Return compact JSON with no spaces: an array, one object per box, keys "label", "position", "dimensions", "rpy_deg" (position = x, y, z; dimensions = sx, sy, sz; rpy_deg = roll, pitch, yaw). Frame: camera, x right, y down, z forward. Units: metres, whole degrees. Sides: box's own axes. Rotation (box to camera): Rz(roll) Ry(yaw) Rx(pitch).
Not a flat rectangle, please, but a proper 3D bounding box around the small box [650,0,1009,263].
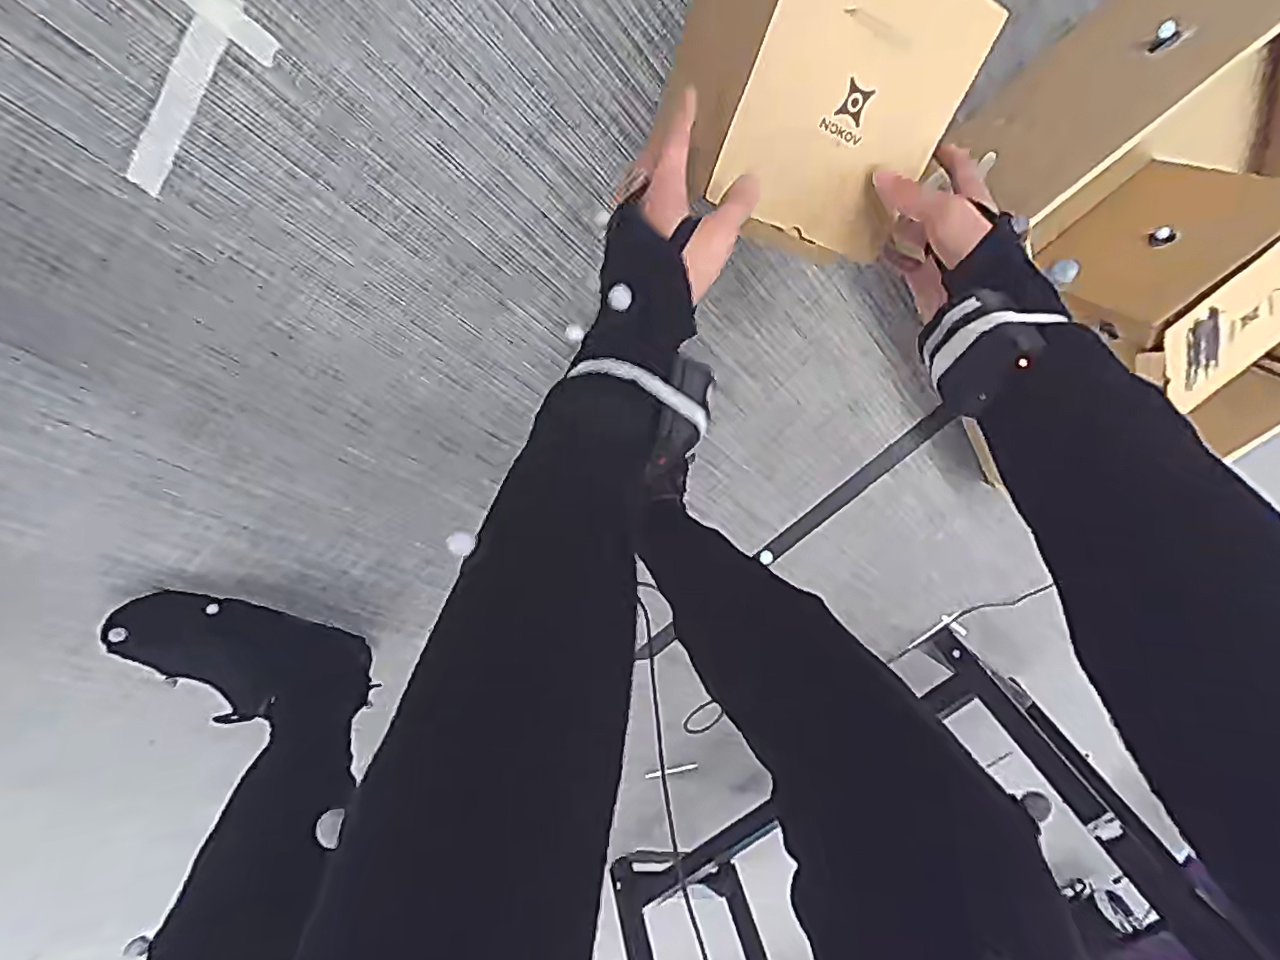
[{"label":"small box","position":[0.122,-0.303,0.426],"dimensions":[0.168,0.176,0.179],"rpy_deg":[8,122,-25]}]
